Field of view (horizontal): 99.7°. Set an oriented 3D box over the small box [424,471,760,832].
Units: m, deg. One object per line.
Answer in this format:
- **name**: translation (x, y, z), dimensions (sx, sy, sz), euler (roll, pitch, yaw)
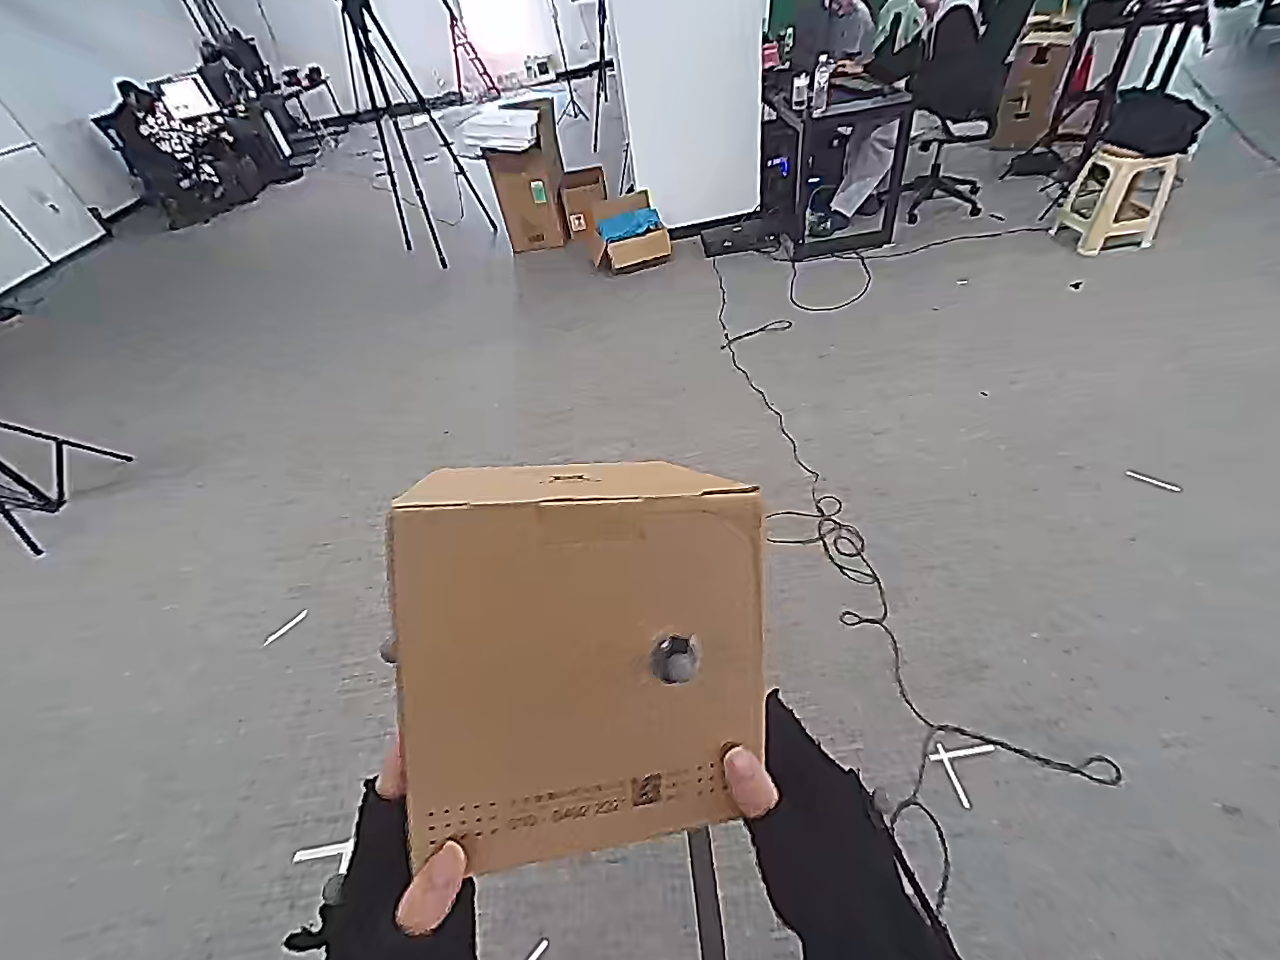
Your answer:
- **small box**: translation (-0.035, 0.088, 0.343), dimensions (0.168, 0.176, 0.179), euler (-2, 6, -15)
